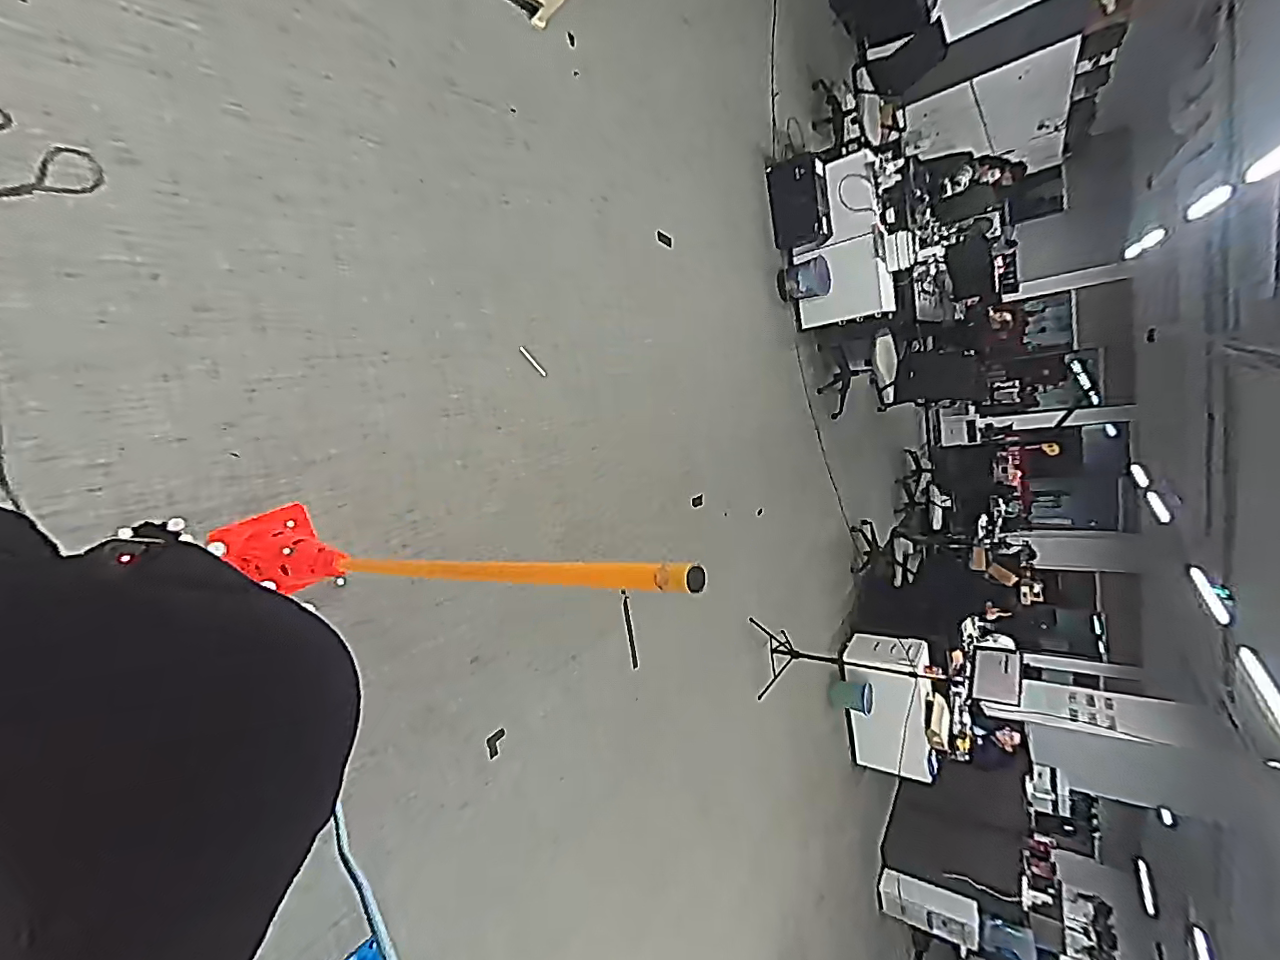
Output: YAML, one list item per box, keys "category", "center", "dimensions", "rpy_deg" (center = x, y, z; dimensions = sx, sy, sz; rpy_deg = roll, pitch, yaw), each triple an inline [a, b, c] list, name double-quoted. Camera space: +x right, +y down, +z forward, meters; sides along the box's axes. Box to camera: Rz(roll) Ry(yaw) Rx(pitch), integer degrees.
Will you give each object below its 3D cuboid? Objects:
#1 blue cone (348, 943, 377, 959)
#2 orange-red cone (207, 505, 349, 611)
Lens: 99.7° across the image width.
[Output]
- category: "blue cone"
  center: [-0.595, 1.268, 1.215]
  dimensions: [0.193, 0.380, 0.192]
  rpy_deg: [-17, 101, -53]
- category: "orange-red cone"
  center: [-0.704, 0.166, 1.123]
  dimensions: [0.199, 0.360, 0.198]
  rpy_deg: [-29, 110, -49]
